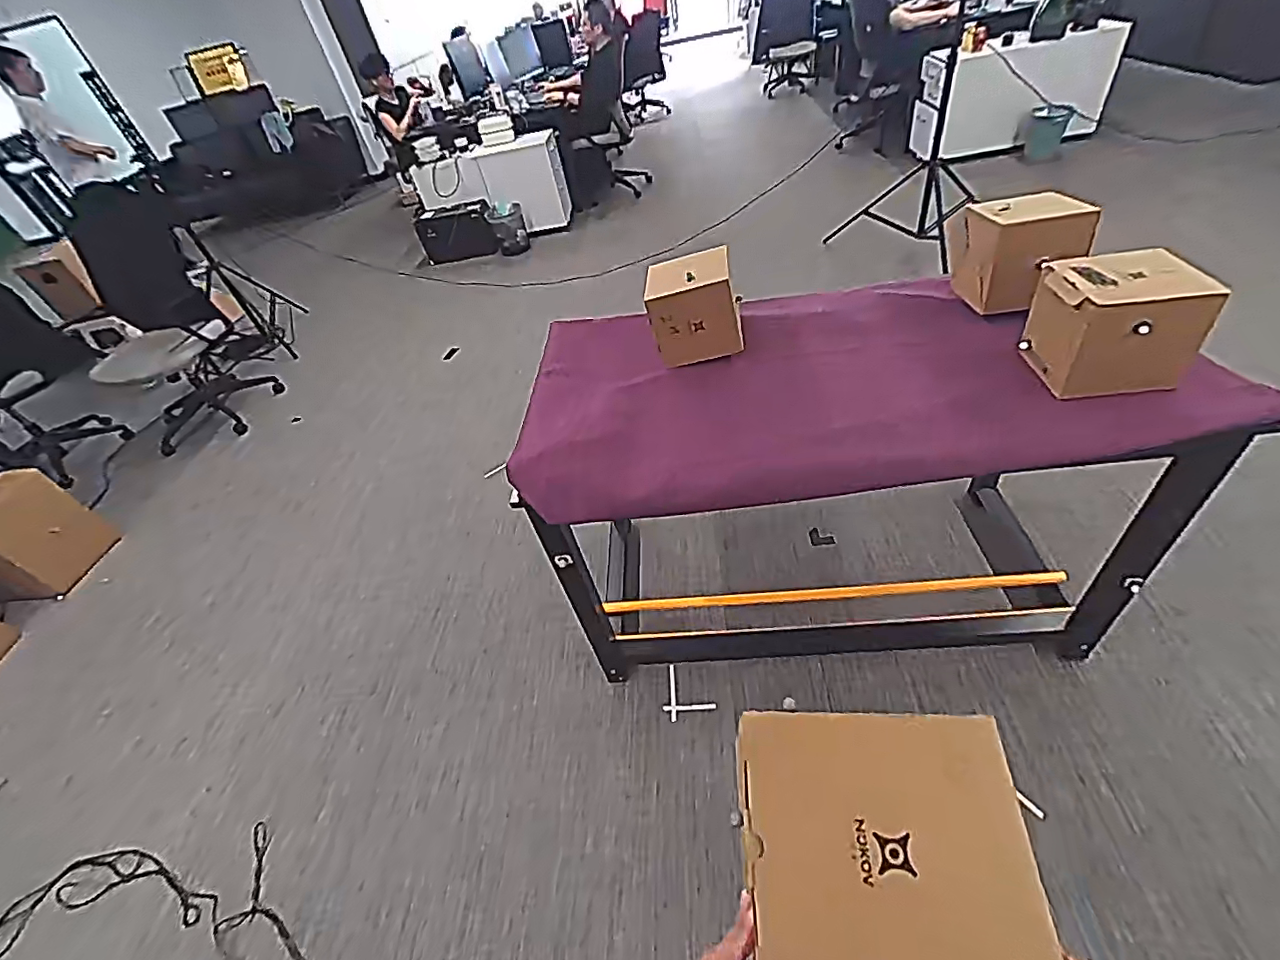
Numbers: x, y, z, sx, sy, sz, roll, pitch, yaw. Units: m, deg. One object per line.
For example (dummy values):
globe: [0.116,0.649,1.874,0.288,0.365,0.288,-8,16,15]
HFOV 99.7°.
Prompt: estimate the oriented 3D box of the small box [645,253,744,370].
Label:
small box: [0.119,-0.365,1.165,0.179,0.168,0.176,-9,41,15]

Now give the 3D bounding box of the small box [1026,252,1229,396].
small box: [0.773,-0.252,0.891,0.179,0.176,0.168,-4,42,10]

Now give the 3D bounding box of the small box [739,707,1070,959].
small box: [0.170,0.272,0.410,0.179,0.176,0.168,-3,58,8]
